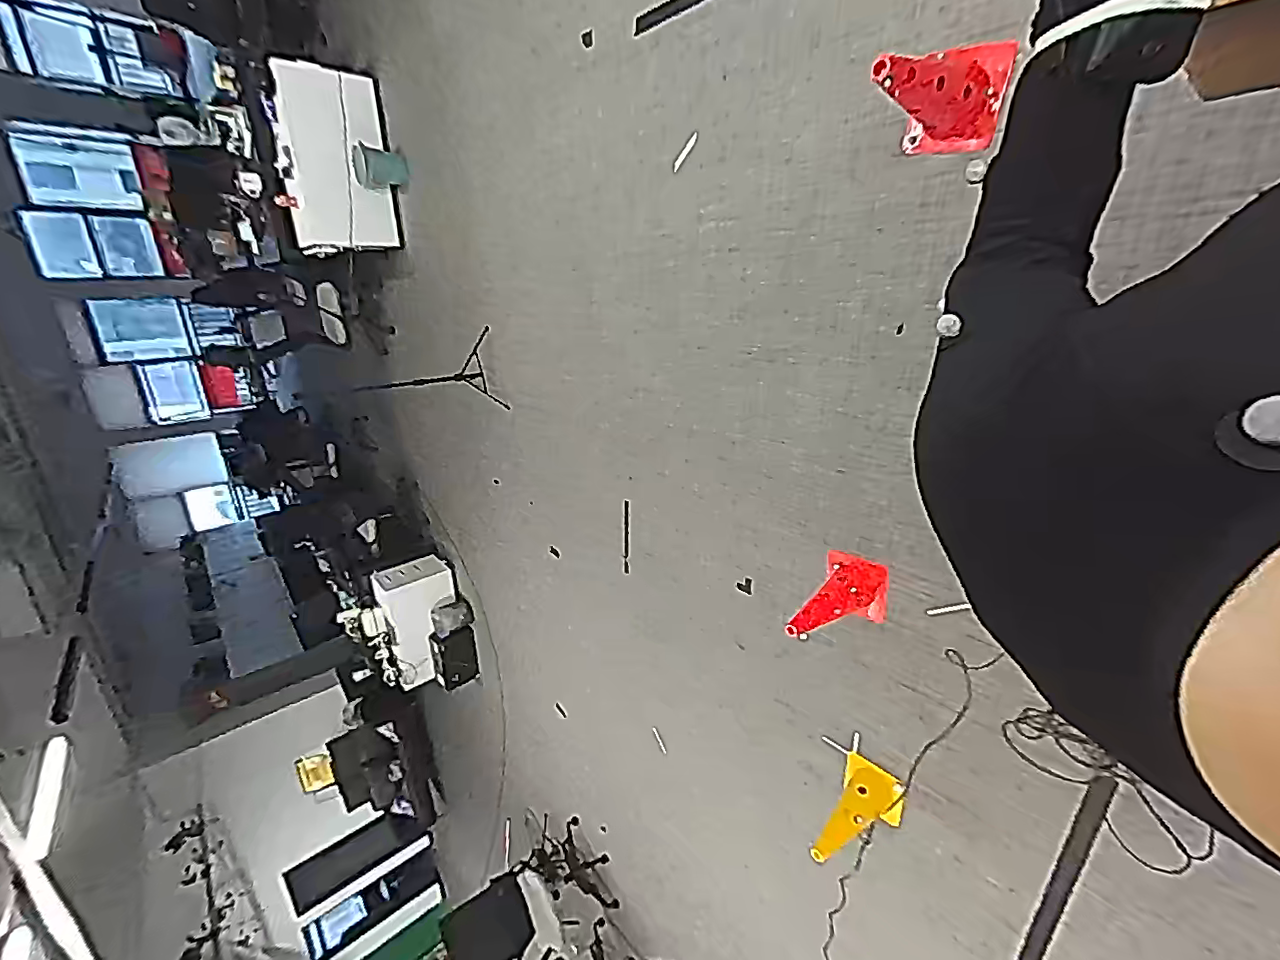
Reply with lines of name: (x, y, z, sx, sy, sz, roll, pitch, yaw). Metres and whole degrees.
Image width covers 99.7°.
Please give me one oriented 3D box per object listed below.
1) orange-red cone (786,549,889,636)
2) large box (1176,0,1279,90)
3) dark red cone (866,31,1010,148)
orange-red cone: (0.561, 0.377, 1.620, 0.198, 0.360, 0.199, 19, 120, 47)
large box: (0.558, -0.444, 0.244, 0.408, 0.320, 0.320, 16, 118, 45)
dark red cone: (0.565, -0.813, 1.096, 0.201, 0.394, 0.202, 27, 124, 41)
